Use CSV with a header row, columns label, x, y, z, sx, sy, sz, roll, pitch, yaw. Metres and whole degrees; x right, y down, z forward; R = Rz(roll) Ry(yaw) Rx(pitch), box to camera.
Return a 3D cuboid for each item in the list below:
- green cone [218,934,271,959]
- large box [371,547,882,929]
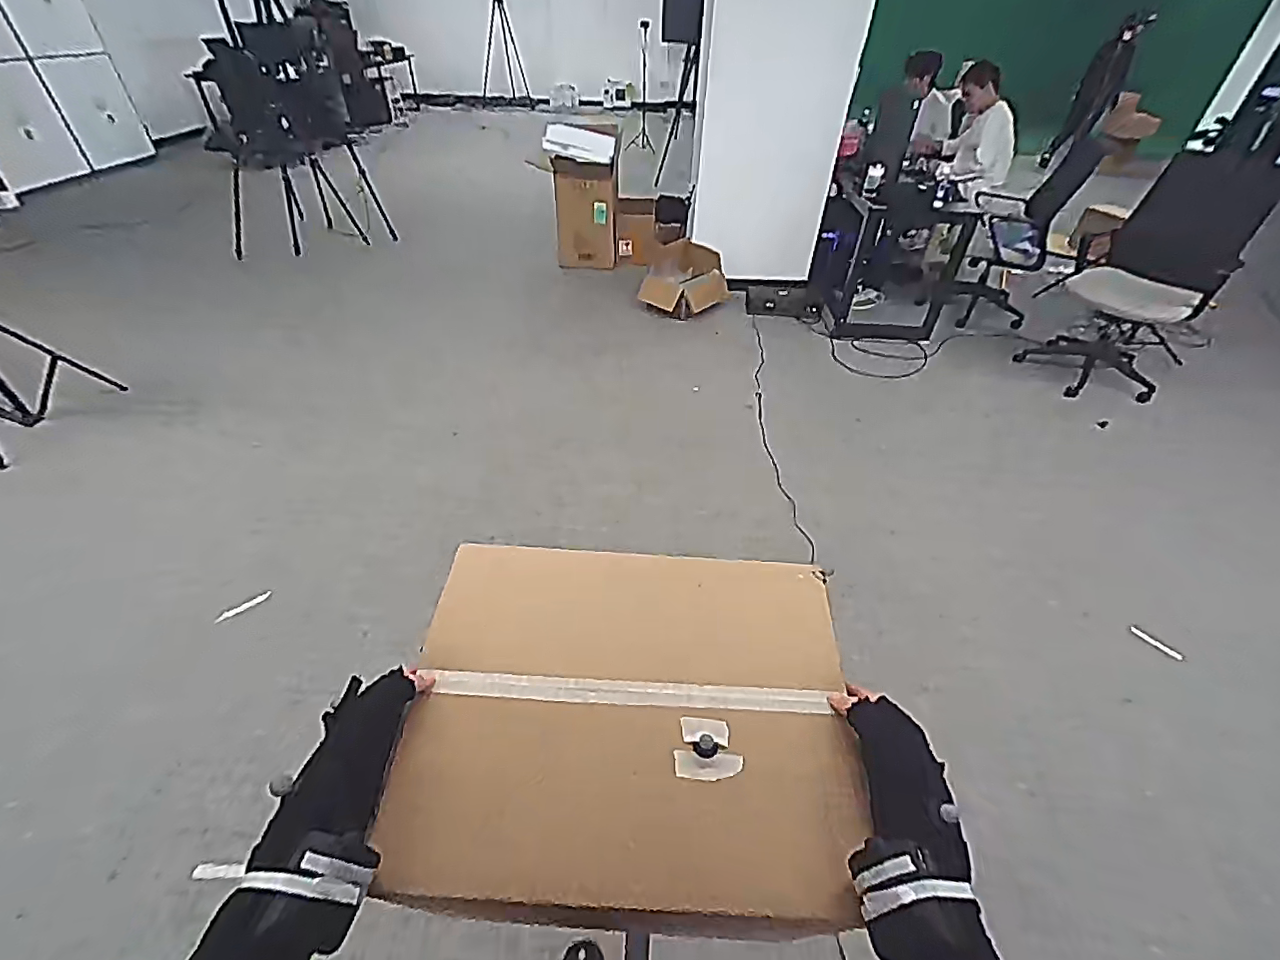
label,x,y,z,sx,sy,sz,roll,pitch,yaw
green cone,-0.807,0.900,0.914,0.202,0.368,0.200,-25,47,-25
large box,-0.013,0.299,0.622,0.408,0.320,0.320,4,48,0
